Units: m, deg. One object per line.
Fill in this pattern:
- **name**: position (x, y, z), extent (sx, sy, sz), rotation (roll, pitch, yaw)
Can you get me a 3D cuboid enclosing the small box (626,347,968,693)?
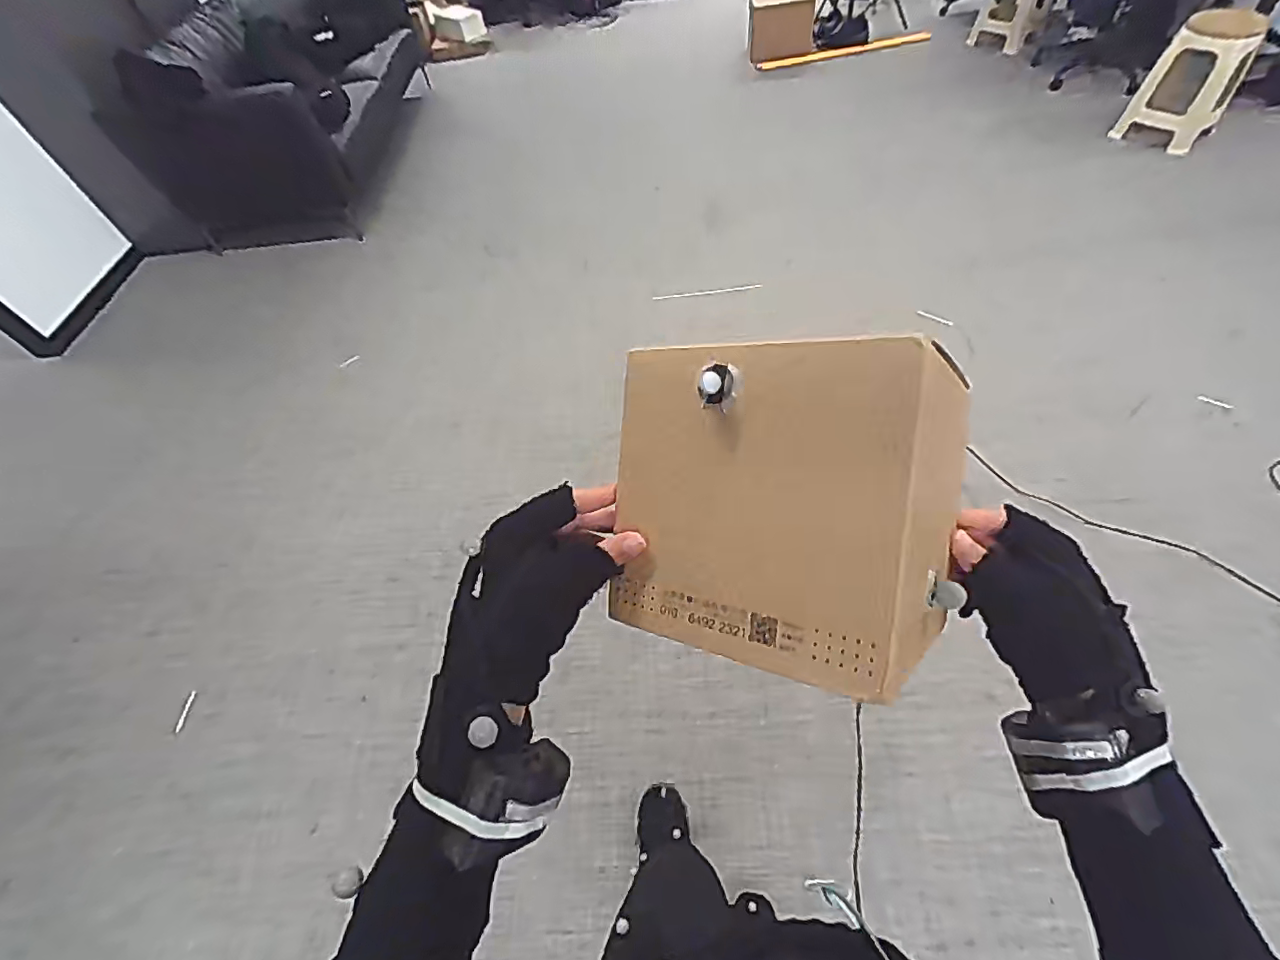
- **small box**: position (0.103, 0.012, 0.360), extent (0.168, 0.179, 0.176), rotation (8, 96, 37)
